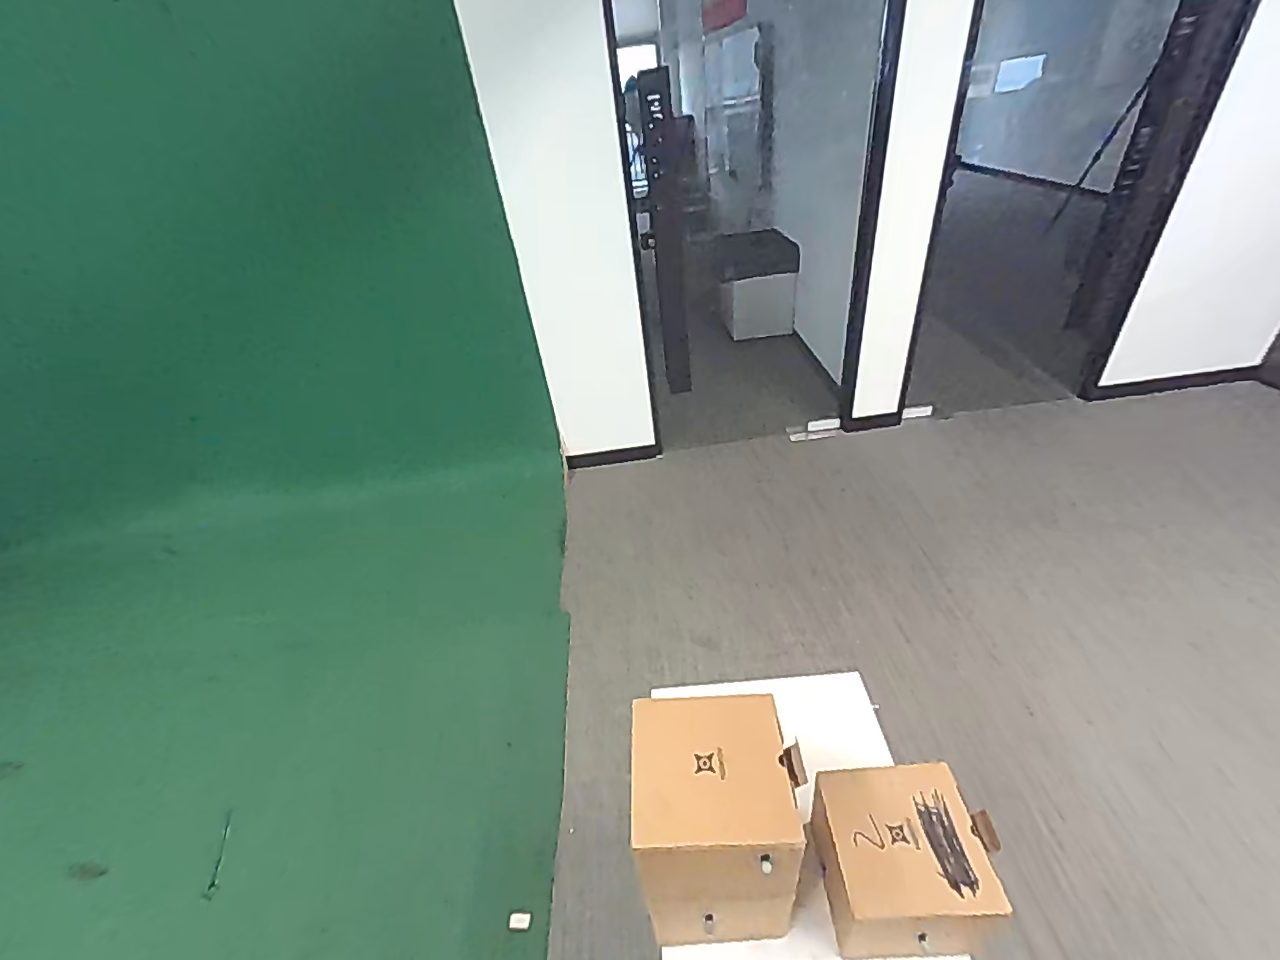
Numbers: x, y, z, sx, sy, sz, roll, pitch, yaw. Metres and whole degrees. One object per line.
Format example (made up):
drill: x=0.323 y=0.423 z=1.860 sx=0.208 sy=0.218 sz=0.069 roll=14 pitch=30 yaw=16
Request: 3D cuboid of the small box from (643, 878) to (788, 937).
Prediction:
small box: x=0.098 y=0.505 z=0.750 sx=0.179 sy=0.176 sz=0.168 roll=-6 pitch=36 yaw=2

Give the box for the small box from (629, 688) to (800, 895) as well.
small box: x=0.083 y=0.375 z=0.653 sx=0.179 sy=0.176 sz=0.168 roll=-3 pitch=36 yaw=2
